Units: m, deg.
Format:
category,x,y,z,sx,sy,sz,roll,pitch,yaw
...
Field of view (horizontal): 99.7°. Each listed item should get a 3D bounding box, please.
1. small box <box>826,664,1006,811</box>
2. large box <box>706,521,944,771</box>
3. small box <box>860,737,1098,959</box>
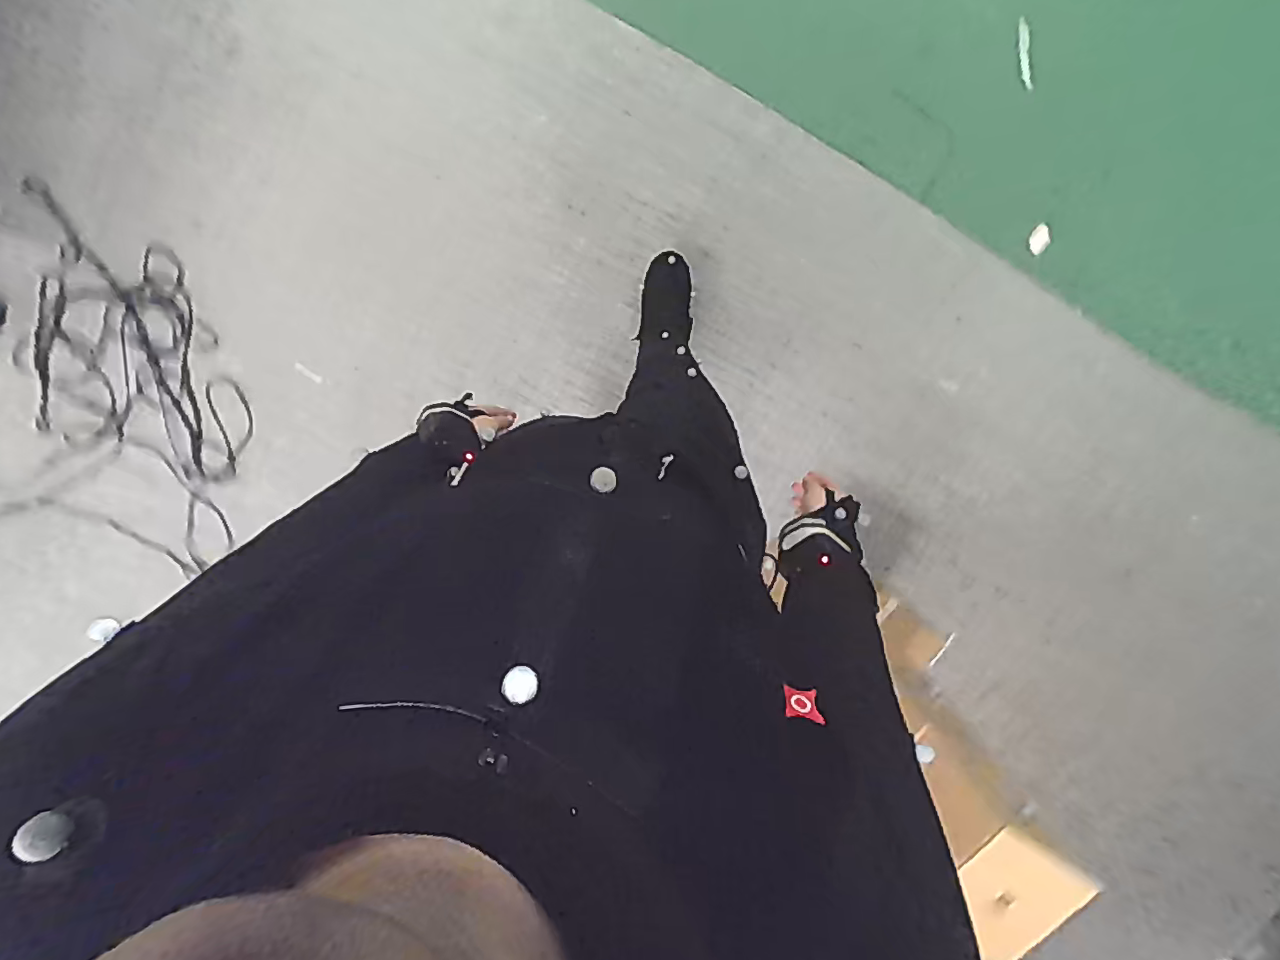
category,x,y,z,sx,sy,sz,roll,pitch,yaw
small box,0.431,0.443,0.885,0.168,0.176,0.179,32,102,-8
large box,0.404,0.373,1.287,0.320,0.320,0.408,35,103,-6
small box,0.435,0.492,0.729,0.168,0.176,0.179,34,103,-8
